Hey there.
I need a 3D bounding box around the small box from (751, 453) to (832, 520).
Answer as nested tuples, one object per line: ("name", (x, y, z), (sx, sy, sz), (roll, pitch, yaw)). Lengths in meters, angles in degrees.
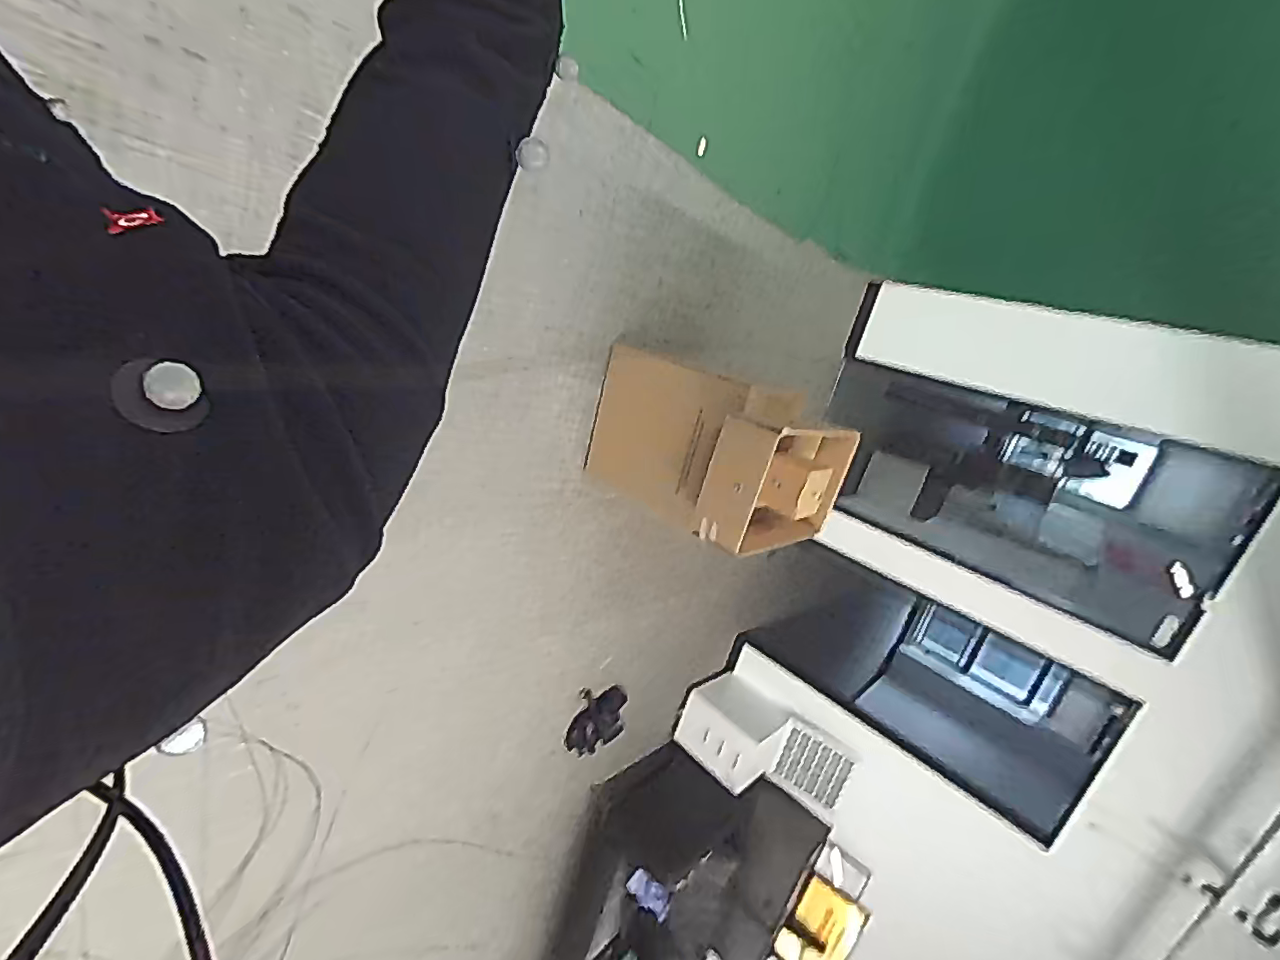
("small box", (0.492, 0.017, 1.773), (0.179, 0.176, 0.168), (-5, 117, -48))
